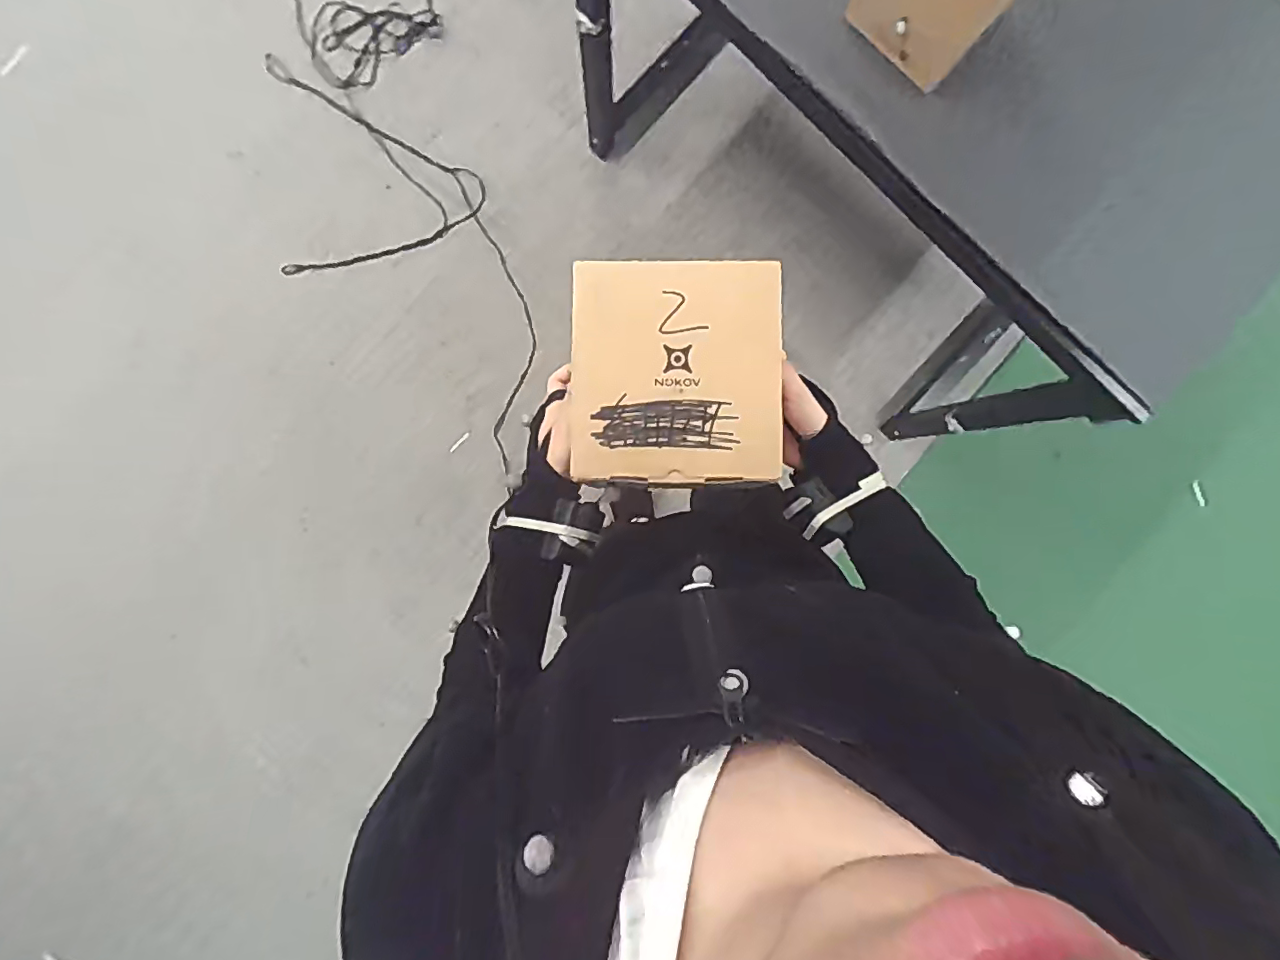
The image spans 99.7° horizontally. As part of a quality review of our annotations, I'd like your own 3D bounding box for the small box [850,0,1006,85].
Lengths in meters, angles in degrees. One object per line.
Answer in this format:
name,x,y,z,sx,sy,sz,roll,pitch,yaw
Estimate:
small box,0.404,-0.669,0.685,0.168,0.176,0.179,41,88,-1
